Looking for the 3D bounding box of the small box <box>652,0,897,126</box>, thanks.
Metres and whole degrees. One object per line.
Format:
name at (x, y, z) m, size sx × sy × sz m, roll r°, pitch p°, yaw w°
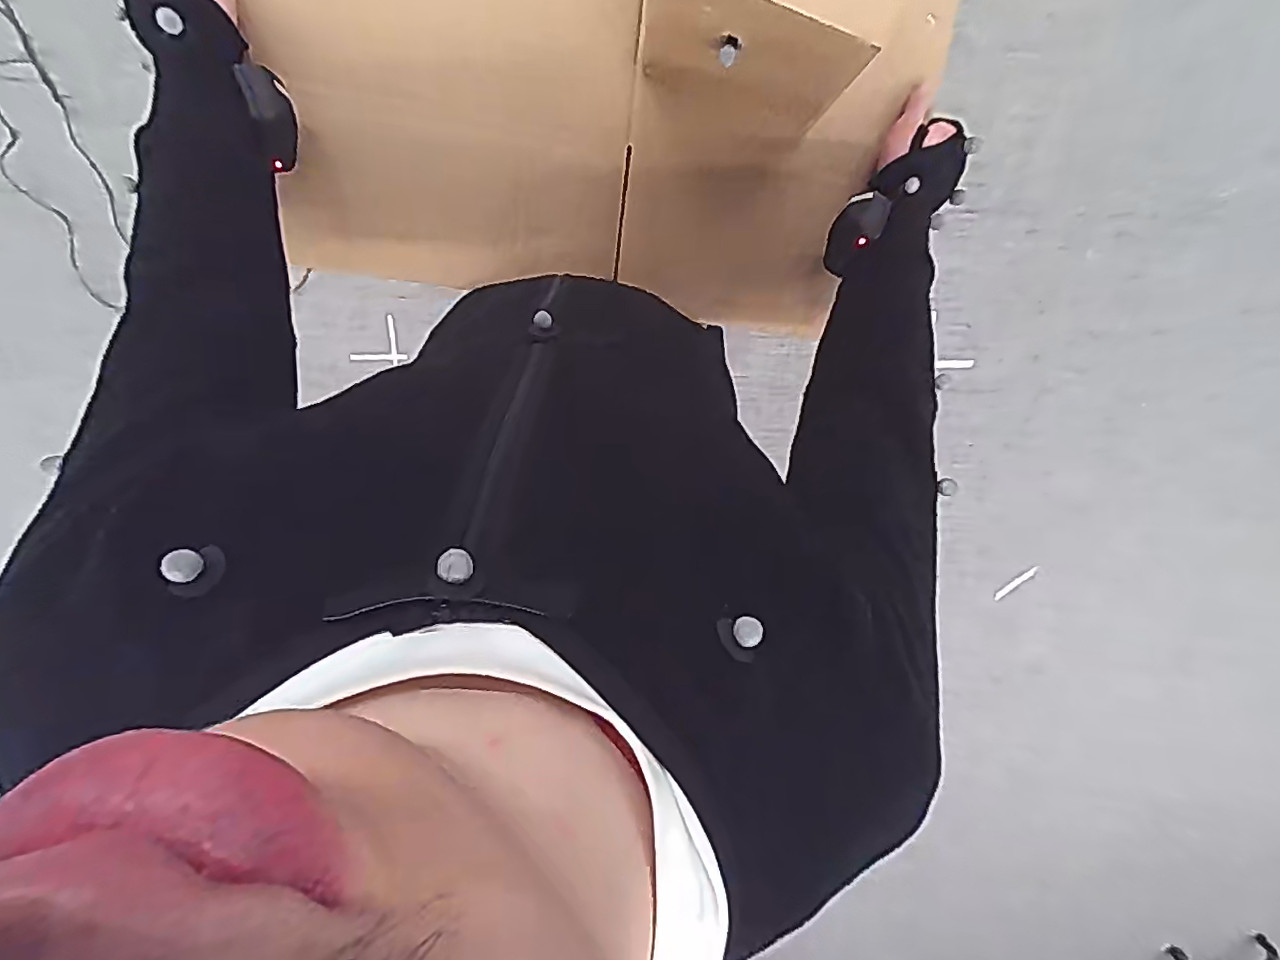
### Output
small box at (0.114, -0.428, 0.442) m, size 0.179 × 0.176 × 0.168 m, roll 17°, pitch 104°, yaw -5°
